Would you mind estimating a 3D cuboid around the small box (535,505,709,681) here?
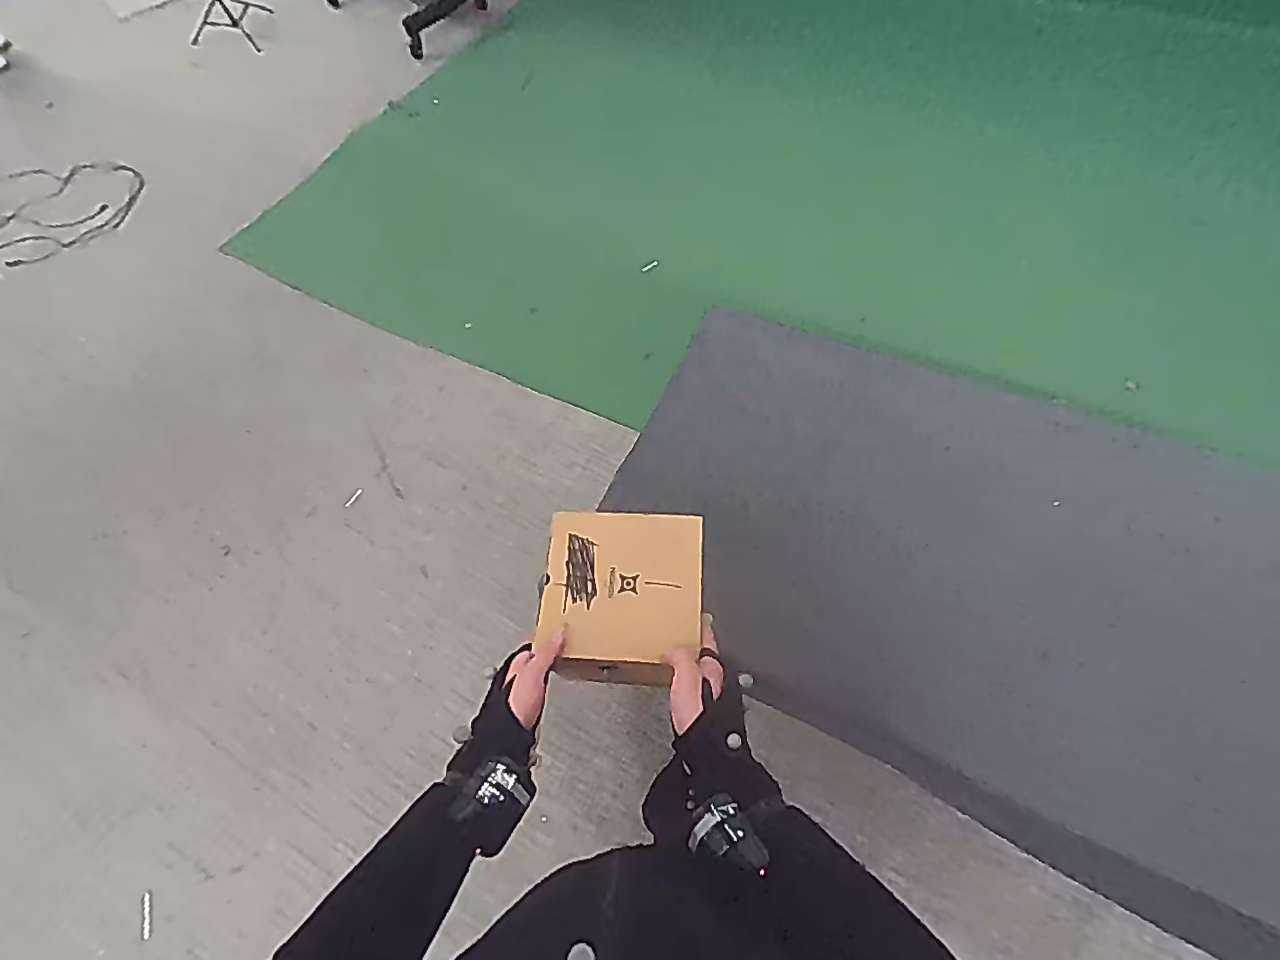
[{"bbox_3d":[-0.010,0.141,0.648,0.179,0.176,0.168,3,63,4],"label":"small box"}]
